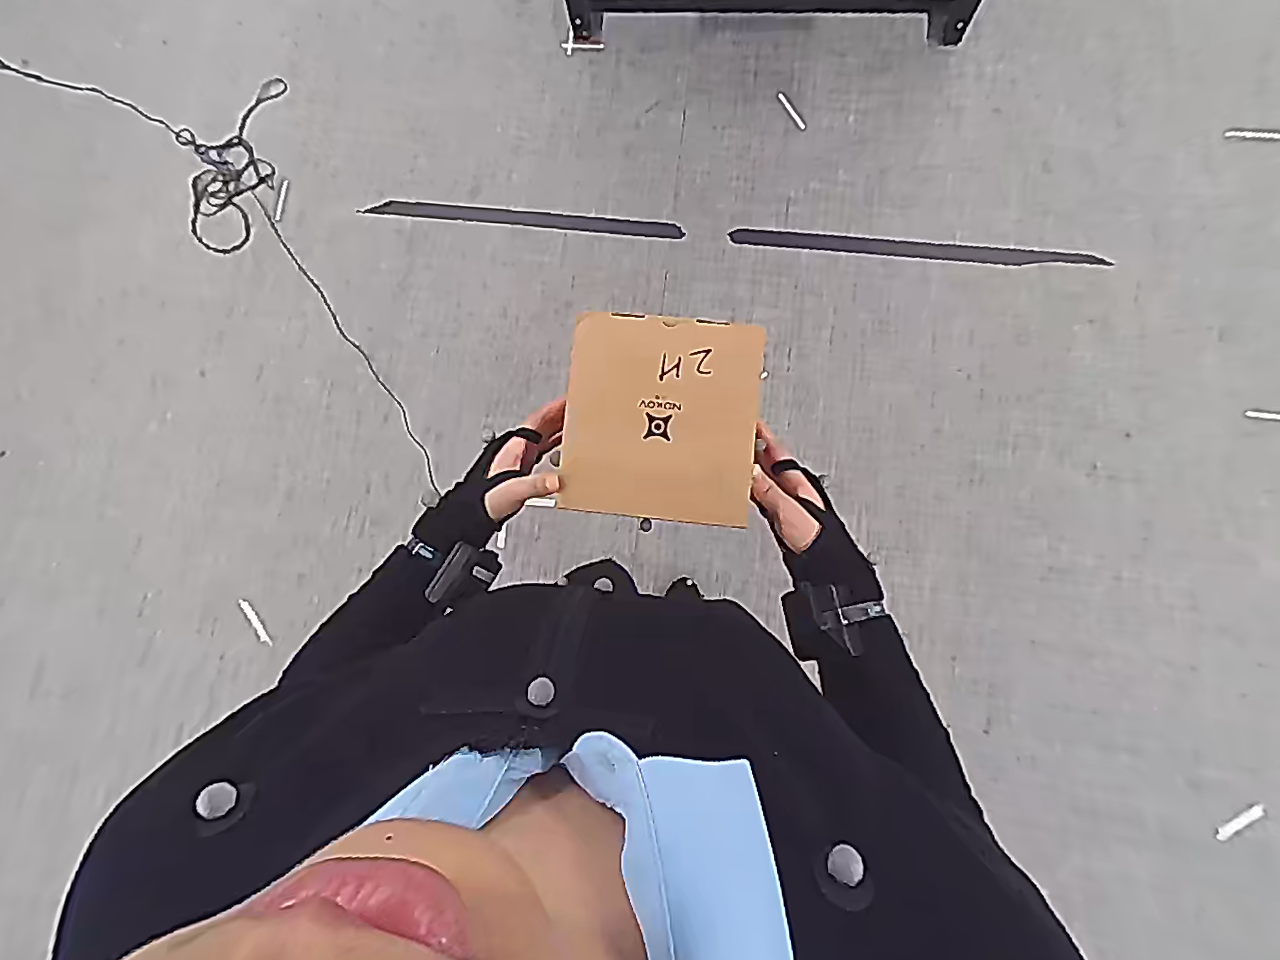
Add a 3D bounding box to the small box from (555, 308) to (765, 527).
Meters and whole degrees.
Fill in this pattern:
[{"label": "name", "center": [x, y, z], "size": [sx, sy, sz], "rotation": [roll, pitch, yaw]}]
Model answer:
[{"label": "small box", "center": [0.021, -0.050, 0.539], "size": [0.168, 0.176, 0.179], "rotation": [6, 86, 3]}]
